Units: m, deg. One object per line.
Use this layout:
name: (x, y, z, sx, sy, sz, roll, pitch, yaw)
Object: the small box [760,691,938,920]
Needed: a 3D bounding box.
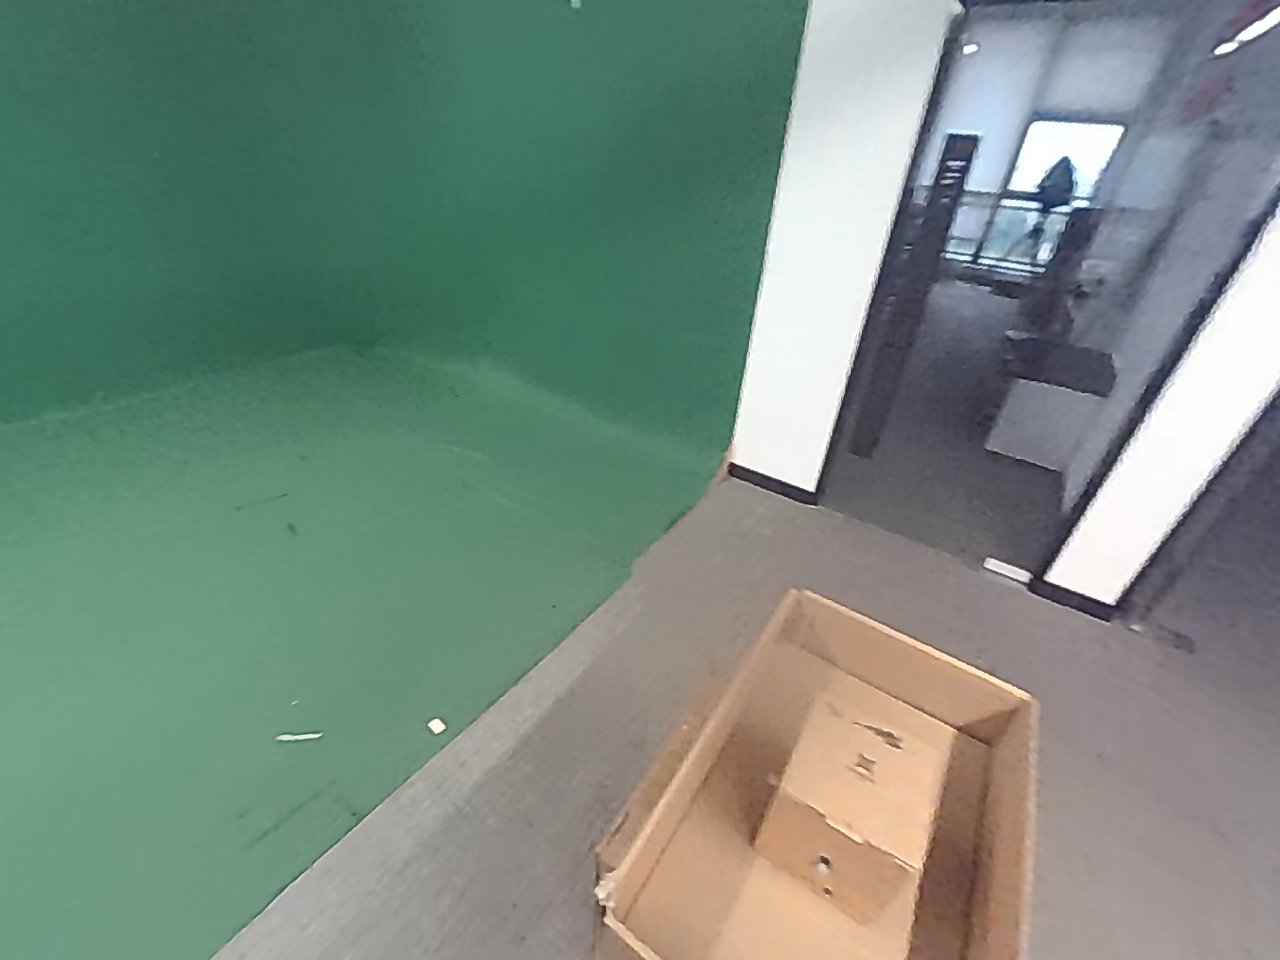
small box: (0.276, 0.438, 0.735, 0.168, 0.176, 0.179, 24, 38, 25)
